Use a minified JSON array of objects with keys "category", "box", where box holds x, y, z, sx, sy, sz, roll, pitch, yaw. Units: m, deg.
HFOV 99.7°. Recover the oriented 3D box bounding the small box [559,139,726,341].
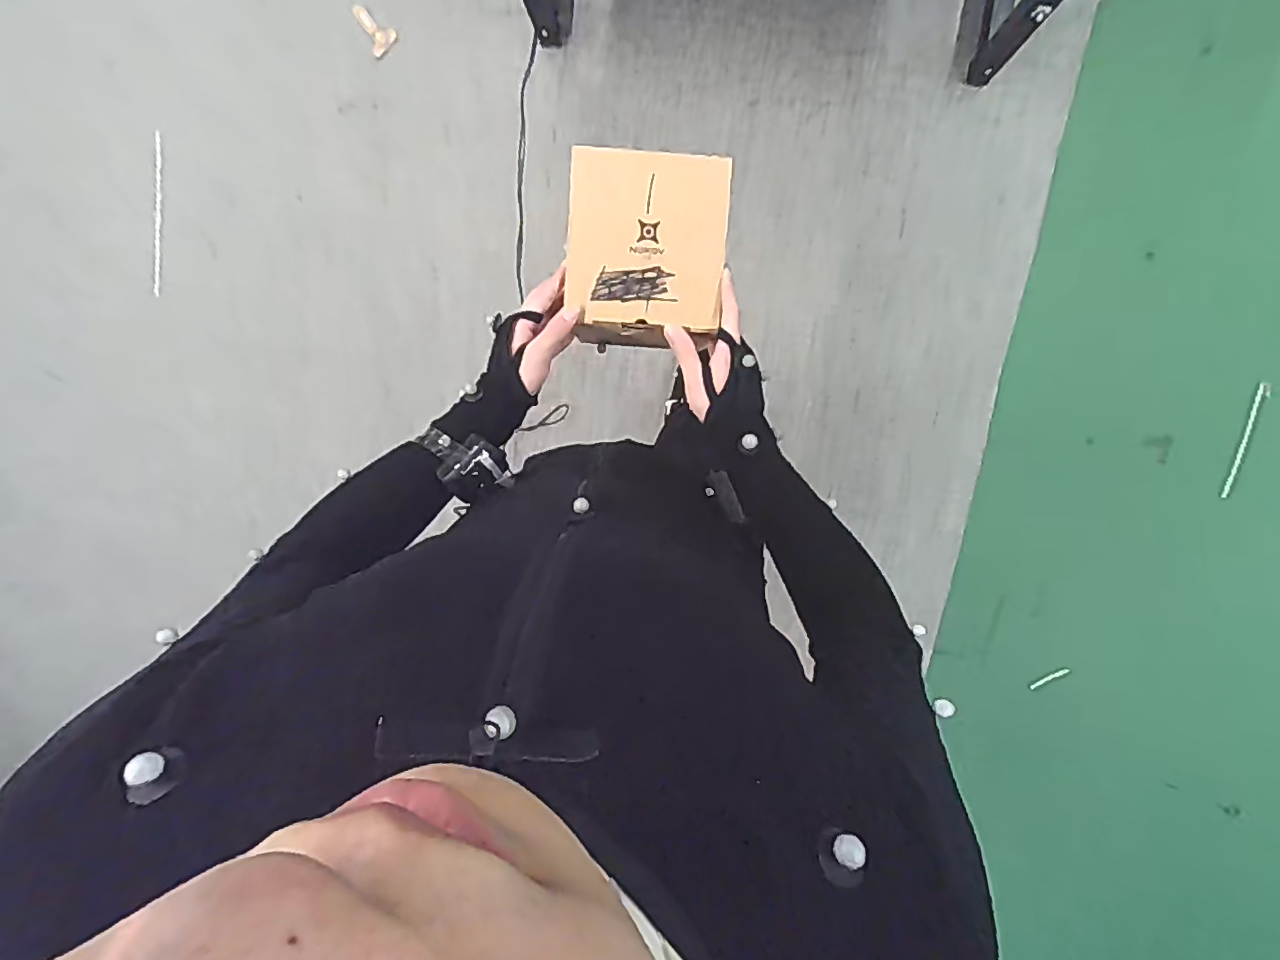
[{"category":"small box","box":[0.002,-0.264,0.636,0.168,0.176,0.179,3,96,0]}]
